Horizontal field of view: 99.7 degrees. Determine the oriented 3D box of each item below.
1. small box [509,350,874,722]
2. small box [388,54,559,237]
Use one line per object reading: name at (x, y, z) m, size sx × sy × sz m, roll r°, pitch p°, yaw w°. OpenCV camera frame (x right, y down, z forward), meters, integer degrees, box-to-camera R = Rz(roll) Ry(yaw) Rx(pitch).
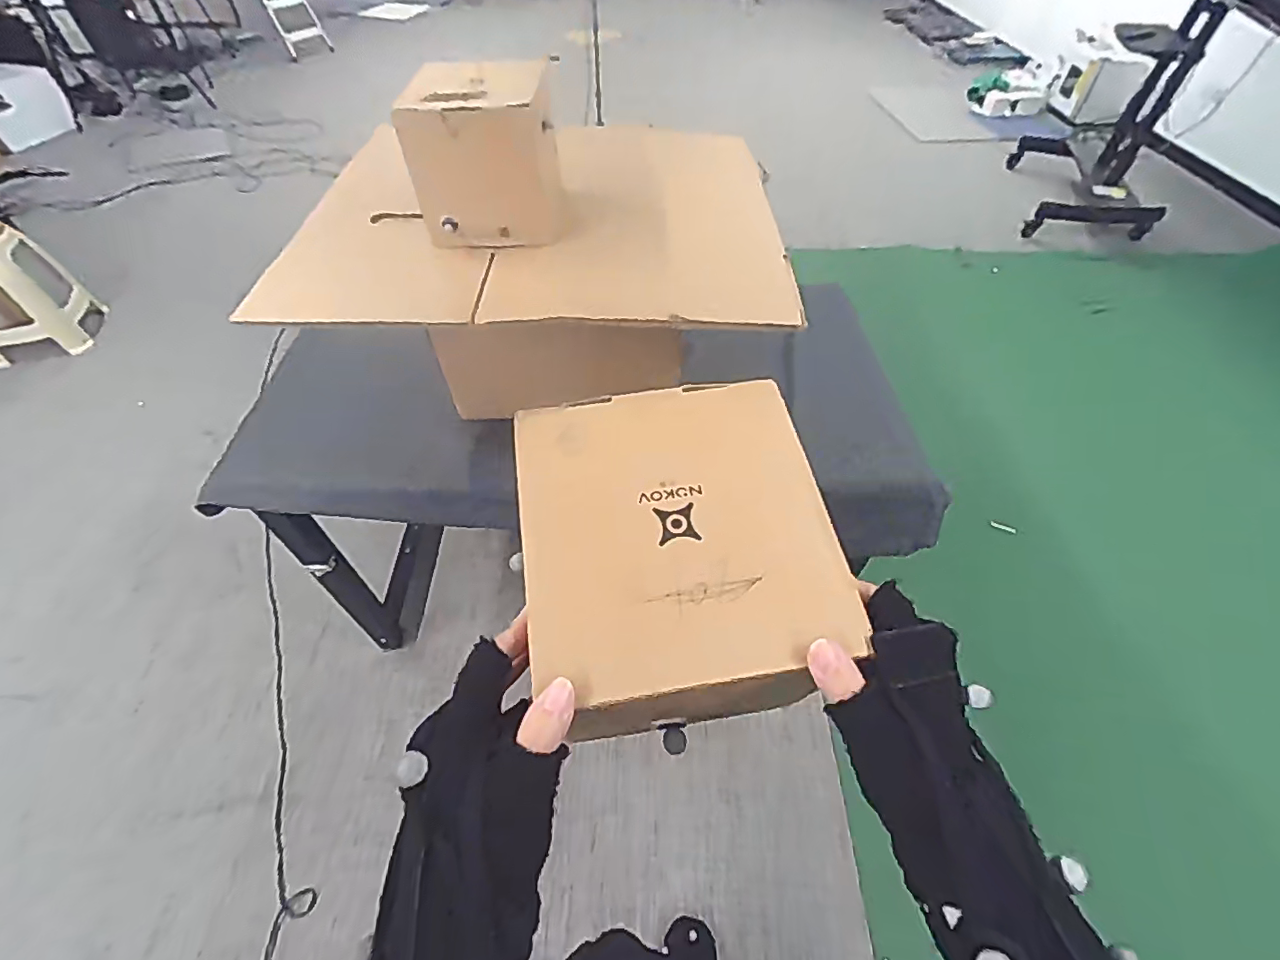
small box at (0.014, 0.044, 0.352) m, size 0.168 × 0.176 × 0.179 m, roll -8°, pitch 61°, yaw -5°
small box at (-0.207, -0.447, 0.733) m, size 0.168 × 0.176 × 0.179 m, roll 0°, pitch 51°, yaw 1°
